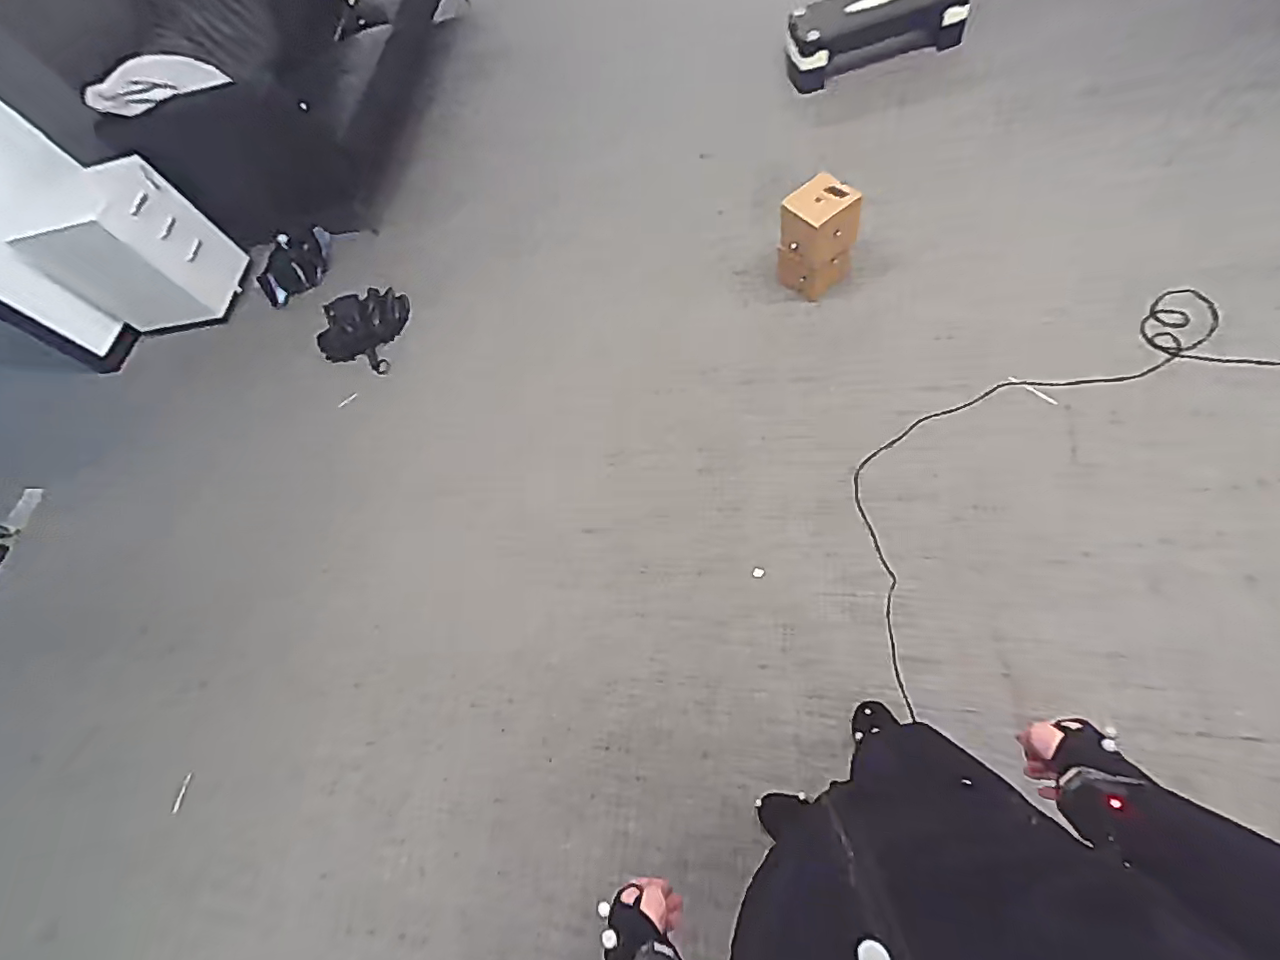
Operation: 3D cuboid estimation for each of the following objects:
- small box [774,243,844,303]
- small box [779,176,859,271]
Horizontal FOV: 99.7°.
[{"bbox_3d":[0.580,-0.743,1.845,0.179,0.176,0.168,-42,62,-8],"label":"small box"},{"bbox_3d":[0.552,-0.800,1.692,0.179,0.176,0.168,-36,62,-3],"label":"small box"}]
